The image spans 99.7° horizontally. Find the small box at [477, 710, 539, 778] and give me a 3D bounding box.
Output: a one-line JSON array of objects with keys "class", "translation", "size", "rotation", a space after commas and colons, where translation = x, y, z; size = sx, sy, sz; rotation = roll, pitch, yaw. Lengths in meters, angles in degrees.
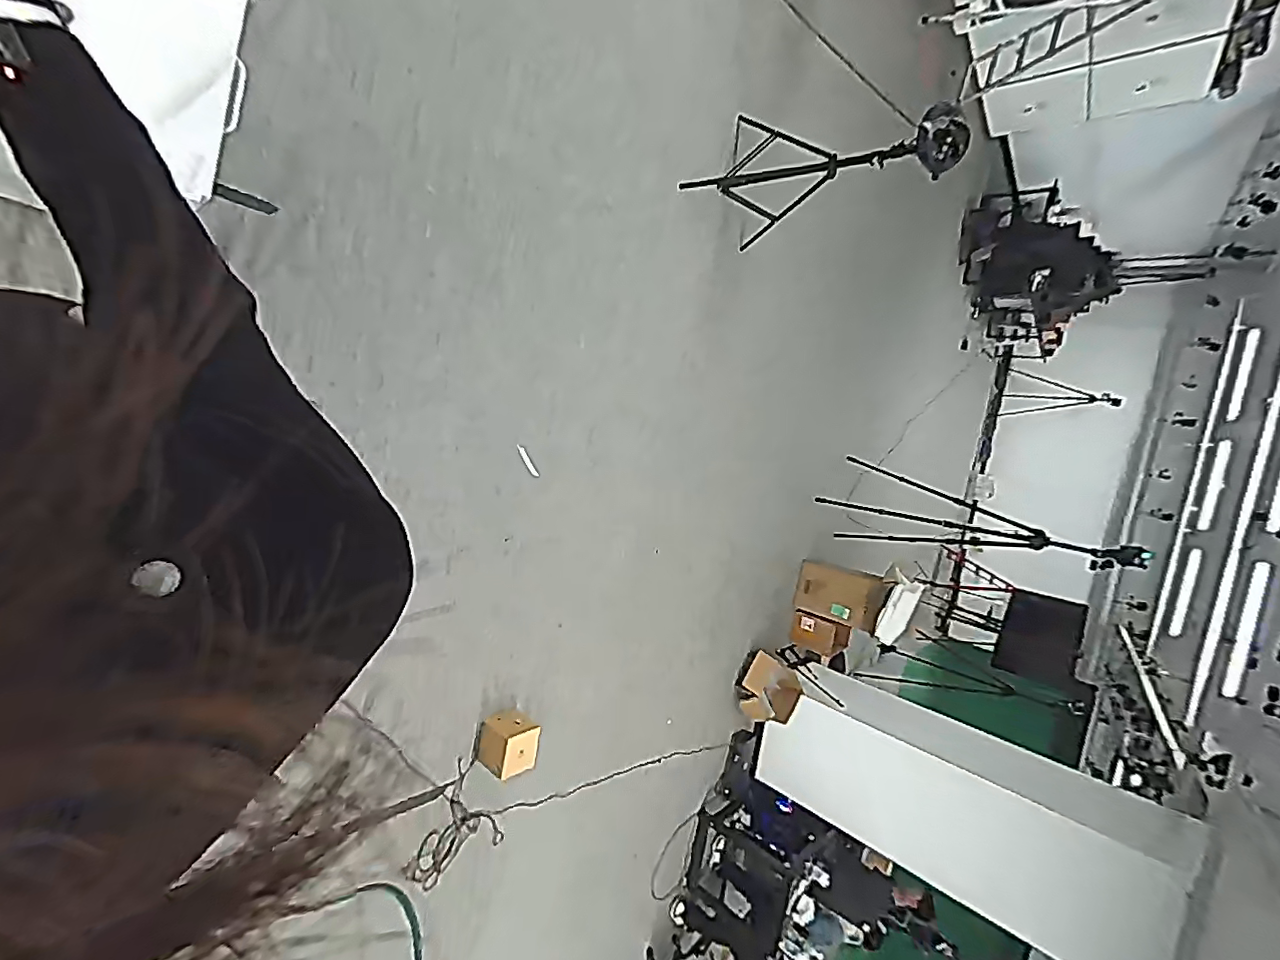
[{"class": "small box", "translation": [-0.539, 1.059, 2.192], "size": [0.168, 0.176, 0.179], "rotation": [5, 98, -51]}]
